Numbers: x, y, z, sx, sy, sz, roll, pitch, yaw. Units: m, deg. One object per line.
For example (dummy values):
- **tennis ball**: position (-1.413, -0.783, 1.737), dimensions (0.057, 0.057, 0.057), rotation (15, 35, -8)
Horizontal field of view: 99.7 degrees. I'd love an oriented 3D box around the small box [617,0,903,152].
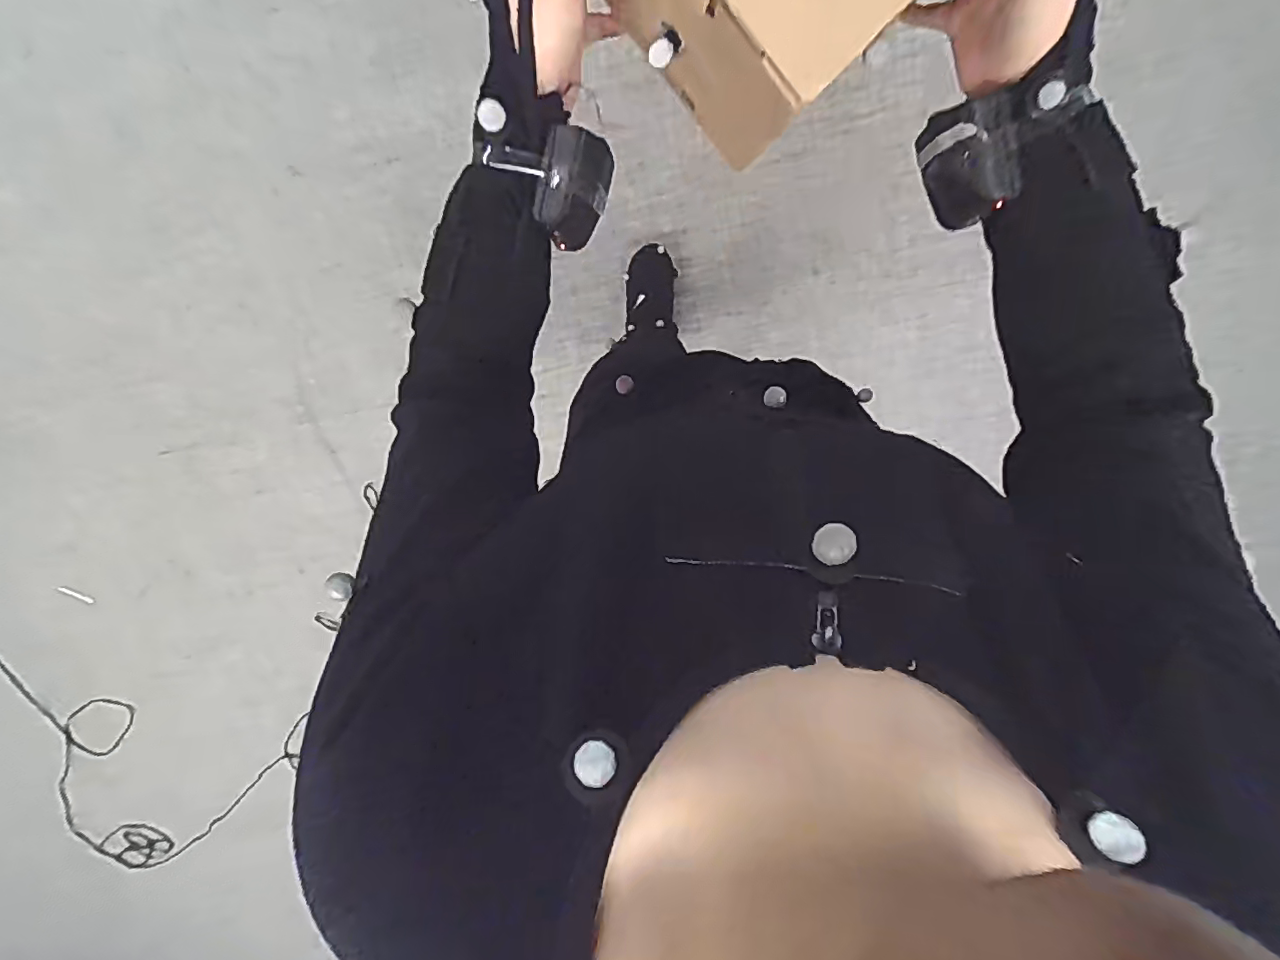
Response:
- **small box**: position (0.079, -0.320, 0.294), dimensions (0.179, 0.176, 0.168), rotation (-41, 105, 14)
